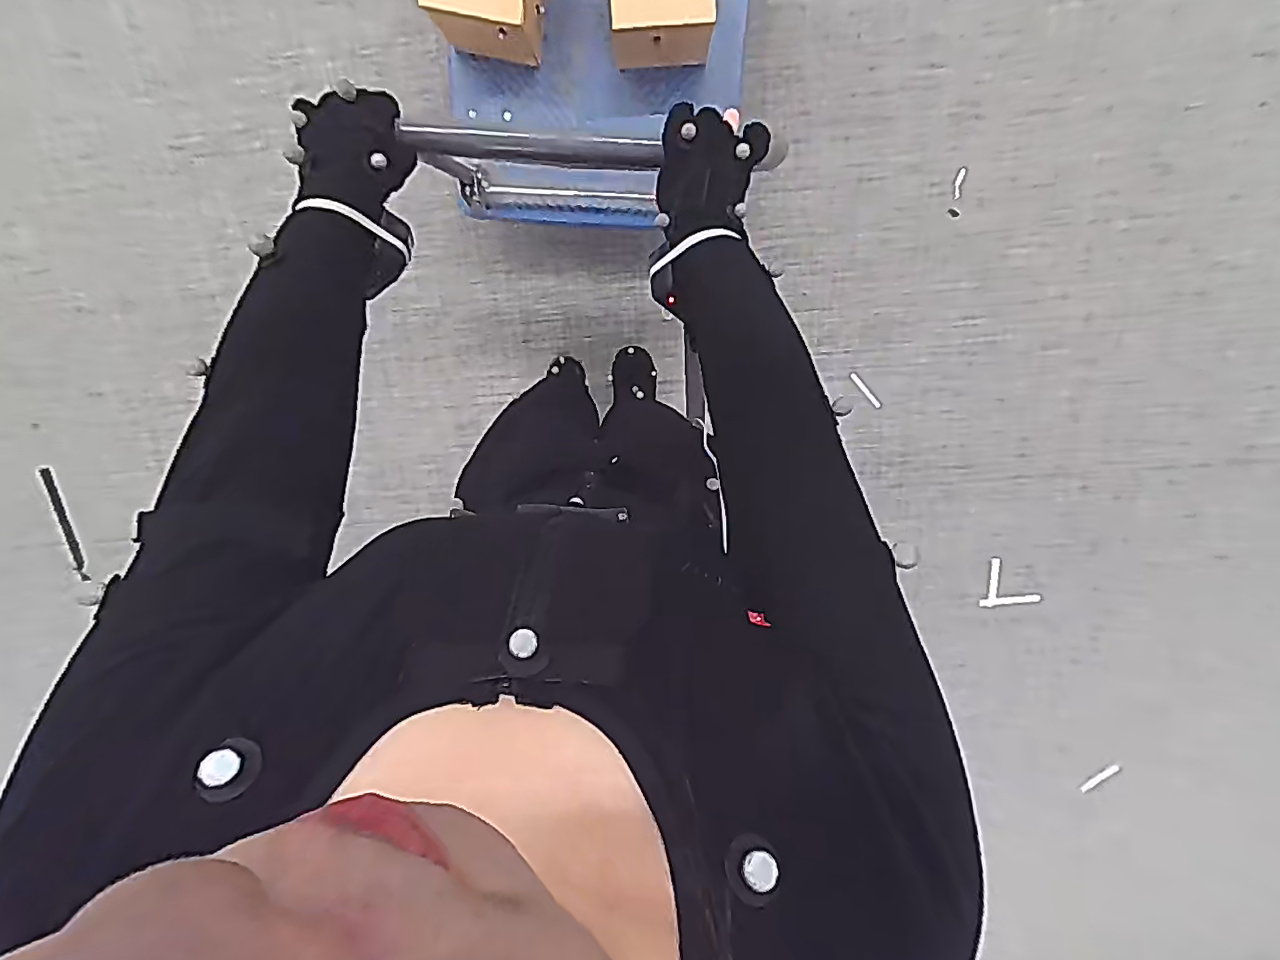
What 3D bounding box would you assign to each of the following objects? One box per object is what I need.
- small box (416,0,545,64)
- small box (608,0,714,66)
[{"bbox_3d":[-0.269,-0.863,0.941,0.179,0.176,0.168,8,108,-4],"label":"small box"},{"bbox_3d":[0.035,-0.849,0.939,0.179,0.176,0.168,-2,109,2],"label":"small box"}]
